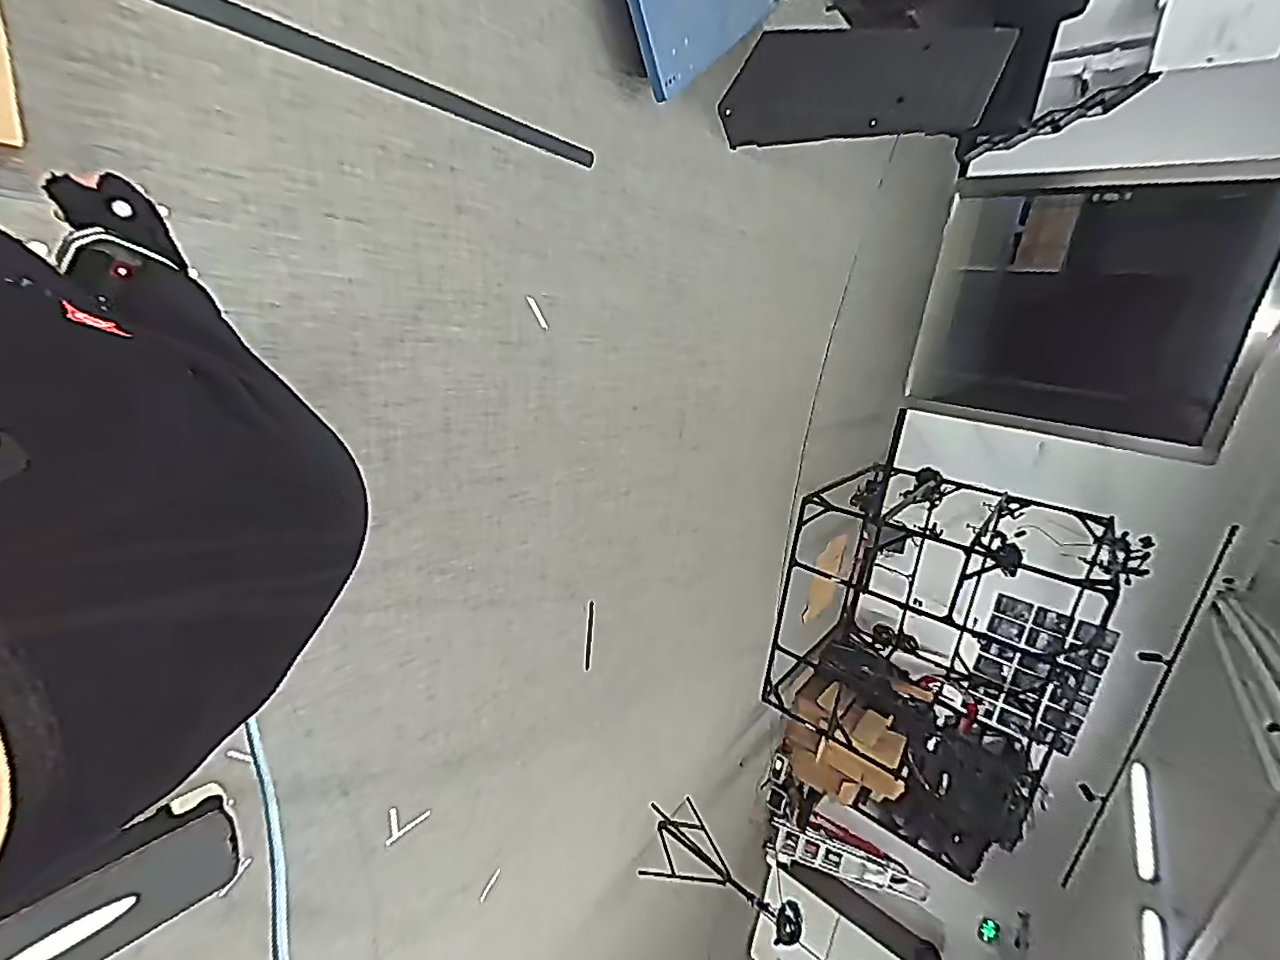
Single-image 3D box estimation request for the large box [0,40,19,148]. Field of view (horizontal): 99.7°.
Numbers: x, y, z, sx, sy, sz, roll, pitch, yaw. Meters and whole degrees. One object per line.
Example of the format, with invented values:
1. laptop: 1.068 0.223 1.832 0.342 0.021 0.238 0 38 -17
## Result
1. large box: -1.081 -0.619 0.633 0.408 0.320 0.320 -15 118 -51
